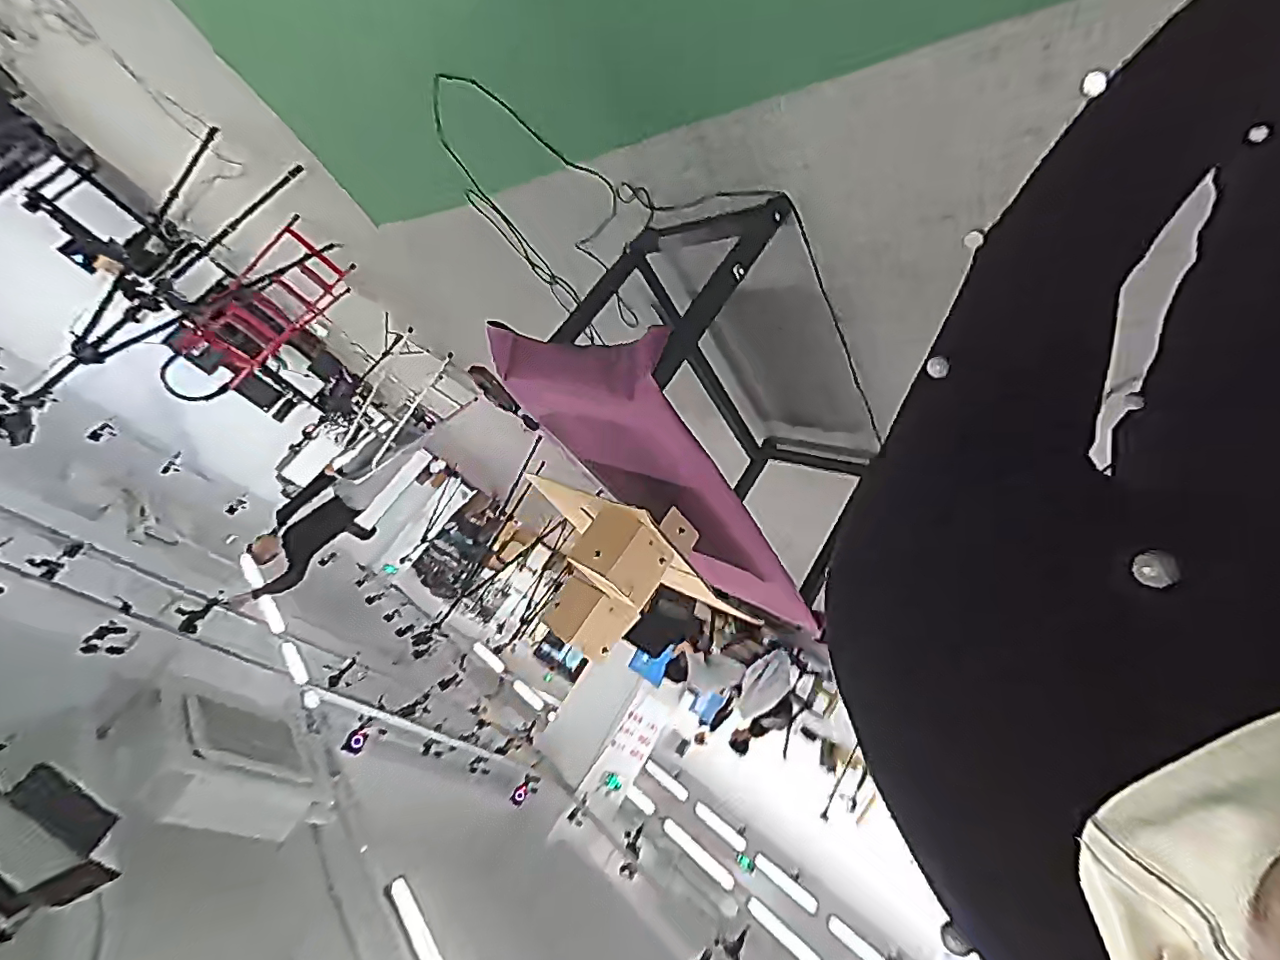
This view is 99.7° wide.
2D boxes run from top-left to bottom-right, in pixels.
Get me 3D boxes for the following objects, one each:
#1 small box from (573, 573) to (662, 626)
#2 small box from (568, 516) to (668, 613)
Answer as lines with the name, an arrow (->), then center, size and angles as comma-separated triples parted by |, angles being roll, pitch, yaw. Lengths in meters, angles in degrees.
small box -> -0.066, 0.313, 1.674 | 0.179, 0.176, 0.168 | 15, 151, 46
small box -> -0.049, 0.215, 1.420 | 0.179, 0.176, 0.168 | 16, 152, 48
